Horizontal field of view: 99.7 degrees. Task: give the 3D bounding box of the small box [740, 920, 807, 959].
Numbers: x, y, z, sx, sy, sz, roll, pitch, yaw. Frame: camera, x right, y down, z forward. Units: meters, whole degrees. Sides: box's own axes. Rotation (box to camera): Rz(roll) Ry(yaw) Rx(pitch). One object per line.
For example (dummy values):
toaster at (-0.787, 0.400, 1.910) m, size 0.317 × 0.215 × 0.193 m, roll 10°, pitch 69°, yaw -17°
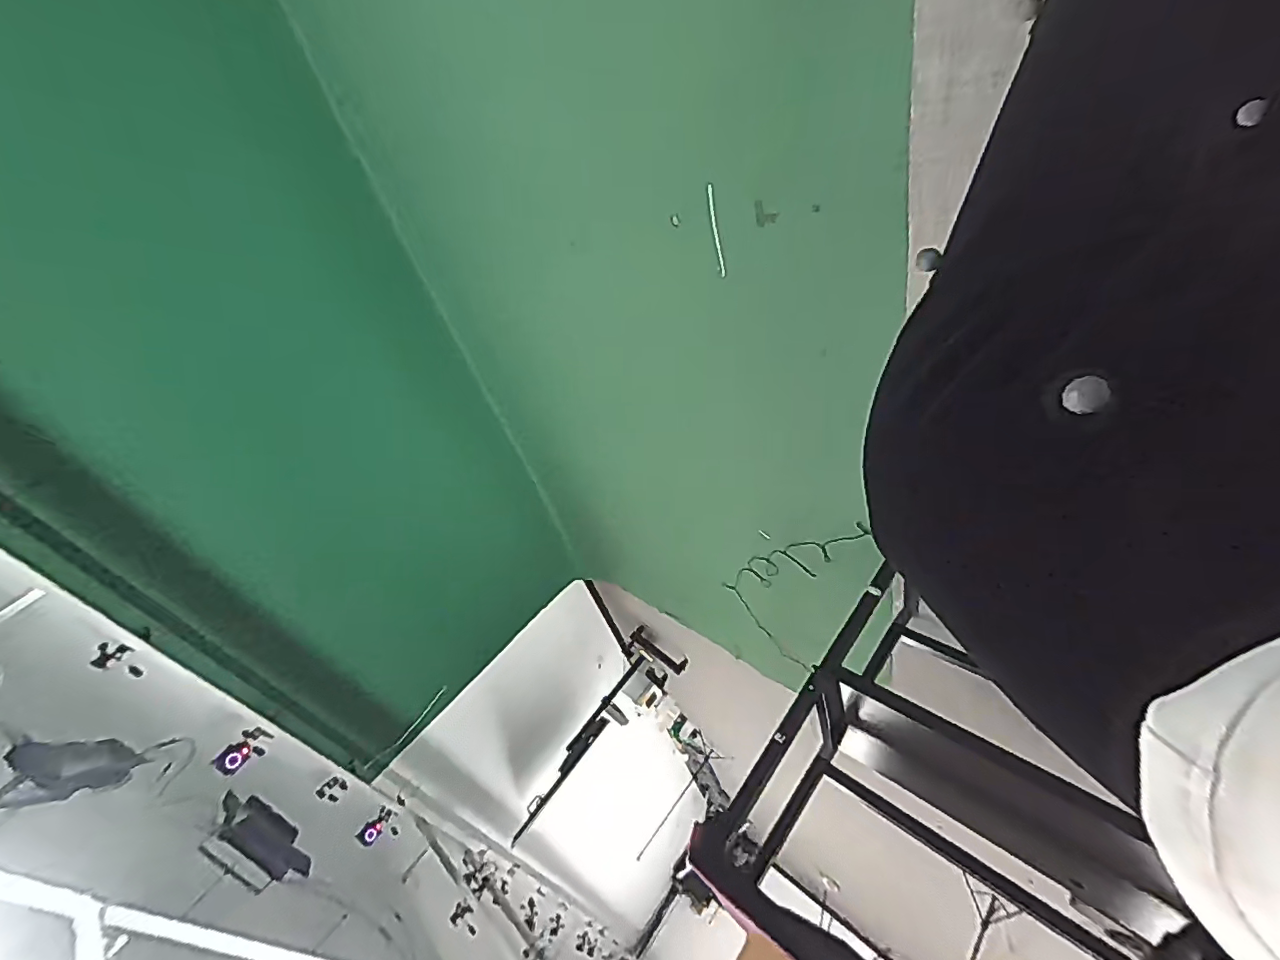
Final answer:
small box at (0.367, 1.353, 1.466) m, size 0.179 × 0.176 × 0.168 m, roll 22°, pitch 144°, yaw 38°
